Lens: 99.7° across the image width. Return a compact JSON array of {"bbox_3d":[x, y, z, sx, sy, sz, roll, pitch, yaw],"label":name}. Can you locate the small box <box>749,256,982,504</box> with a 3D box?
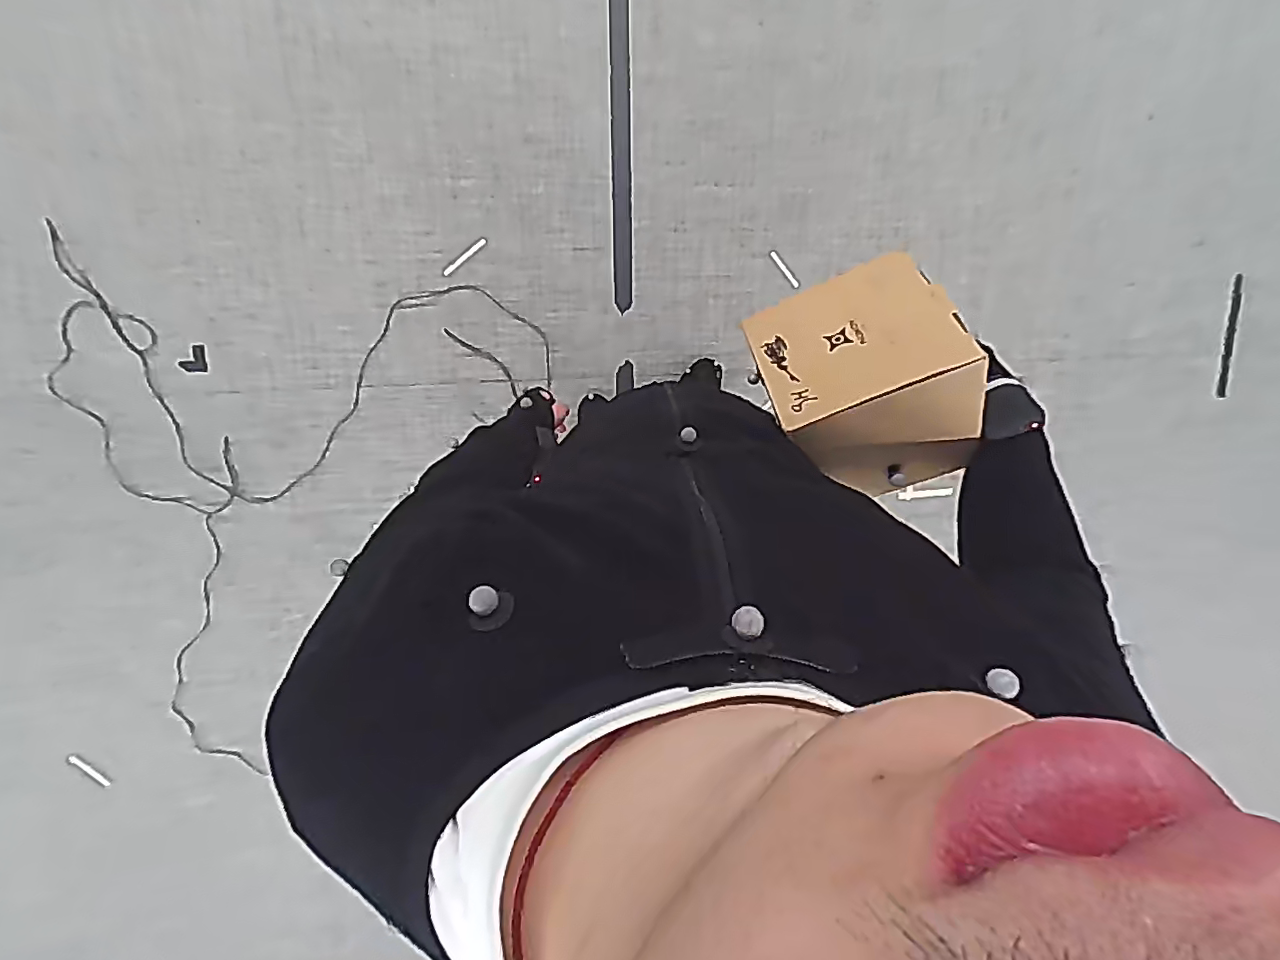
[{"bbox_3d":[0.240,-0.100,0.596,0.179,0.168,0.176,-21,141,15],"label":"small box"}]
